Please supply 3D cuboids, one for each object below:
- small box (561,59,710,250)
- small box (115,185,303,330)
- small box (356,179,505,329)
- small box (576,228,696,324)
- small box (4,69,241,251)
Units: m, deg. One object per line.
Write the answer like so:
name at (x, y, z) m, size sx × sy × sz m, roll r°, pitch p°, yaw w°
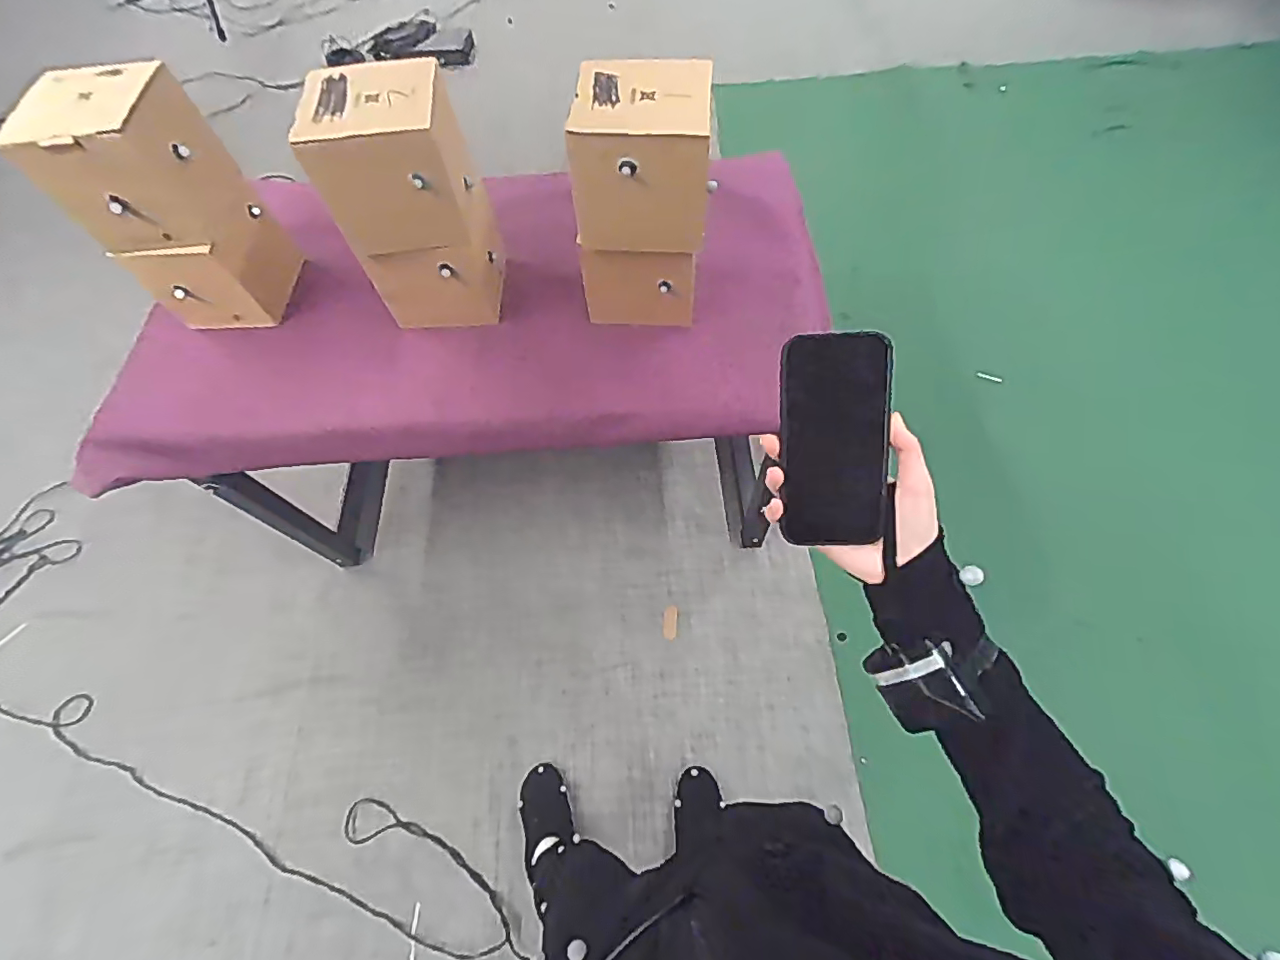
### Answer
small box at (0.003, -0.439, 0.742) m, size 0.179 × 0.176 × 0.168 m, roll 3°, pitch 62°, yaw 5°
small box at (-0.727, -0.376, 0.940) m, size 0.168 × 0.176 × 0.179 m, roll -2°, pitch 62°, yaw 3°
small box at (-0.337, -0.375, 0.913) m, size 0.179 × 0.176 × 0.168 m, roll -2°, pitch 62°, yaw 2°
small box at (0.003, -0.376, 0.894) m, size 0.179 × 0.176 × 0.168 m, roll 3°, pitch 62°, yaw 6°
small box at (-0.737, -0.460, 0.798) m, size 0.168 × 0.176 × 0.179 m, roll -6°, pitch 63°, yaw 0°
